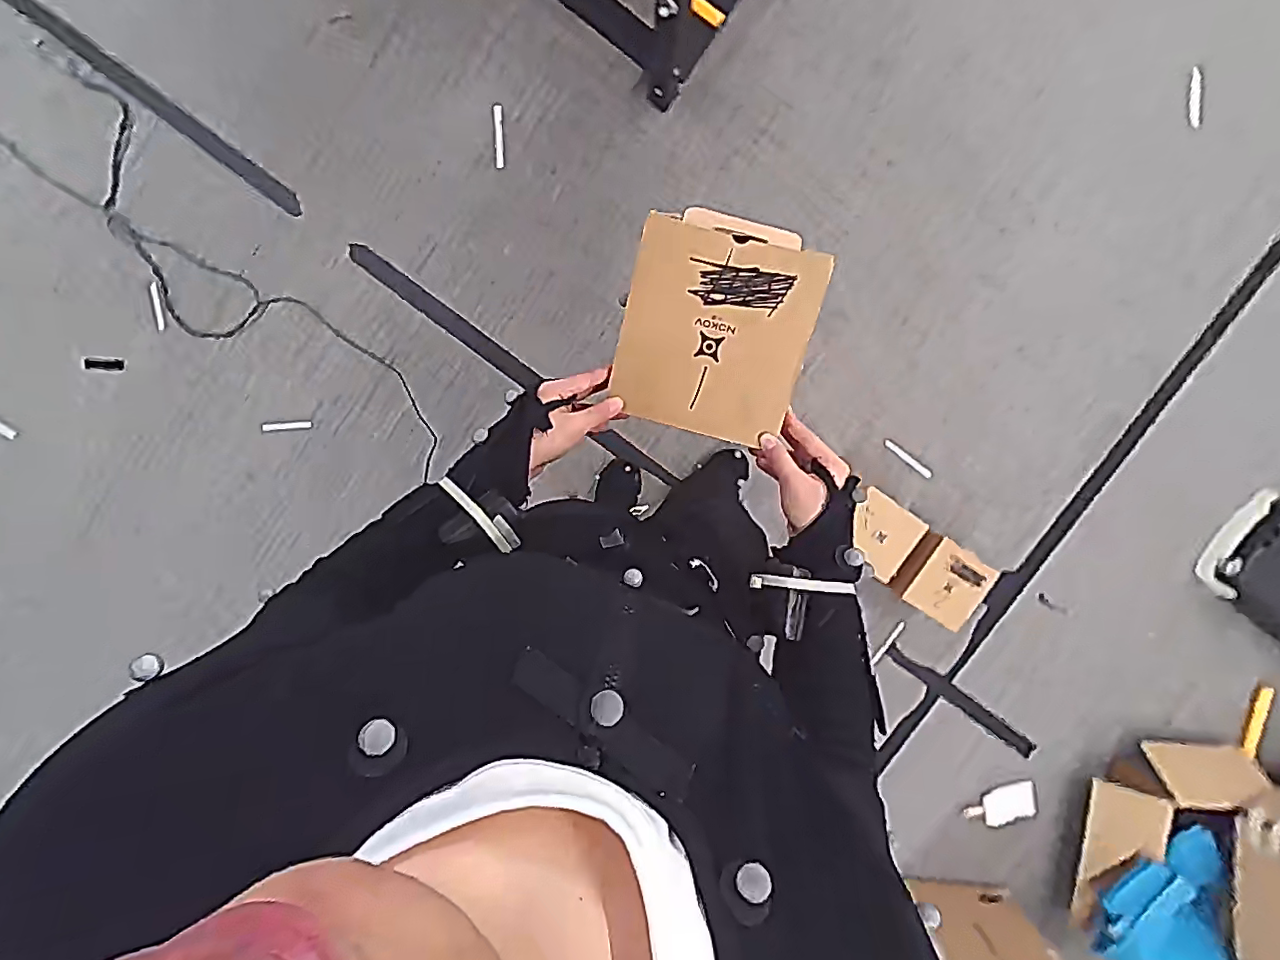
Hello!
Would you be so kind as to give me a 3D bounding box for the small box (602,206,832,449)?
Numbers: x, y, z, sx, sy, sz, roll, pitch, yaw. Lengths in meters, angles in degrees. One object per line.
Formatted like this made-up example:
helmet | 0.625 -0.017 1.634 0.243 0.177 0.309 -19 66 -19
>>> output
small box | 0.069 -0.148 0.546 0.168 0.176 0.179 14 106 2
